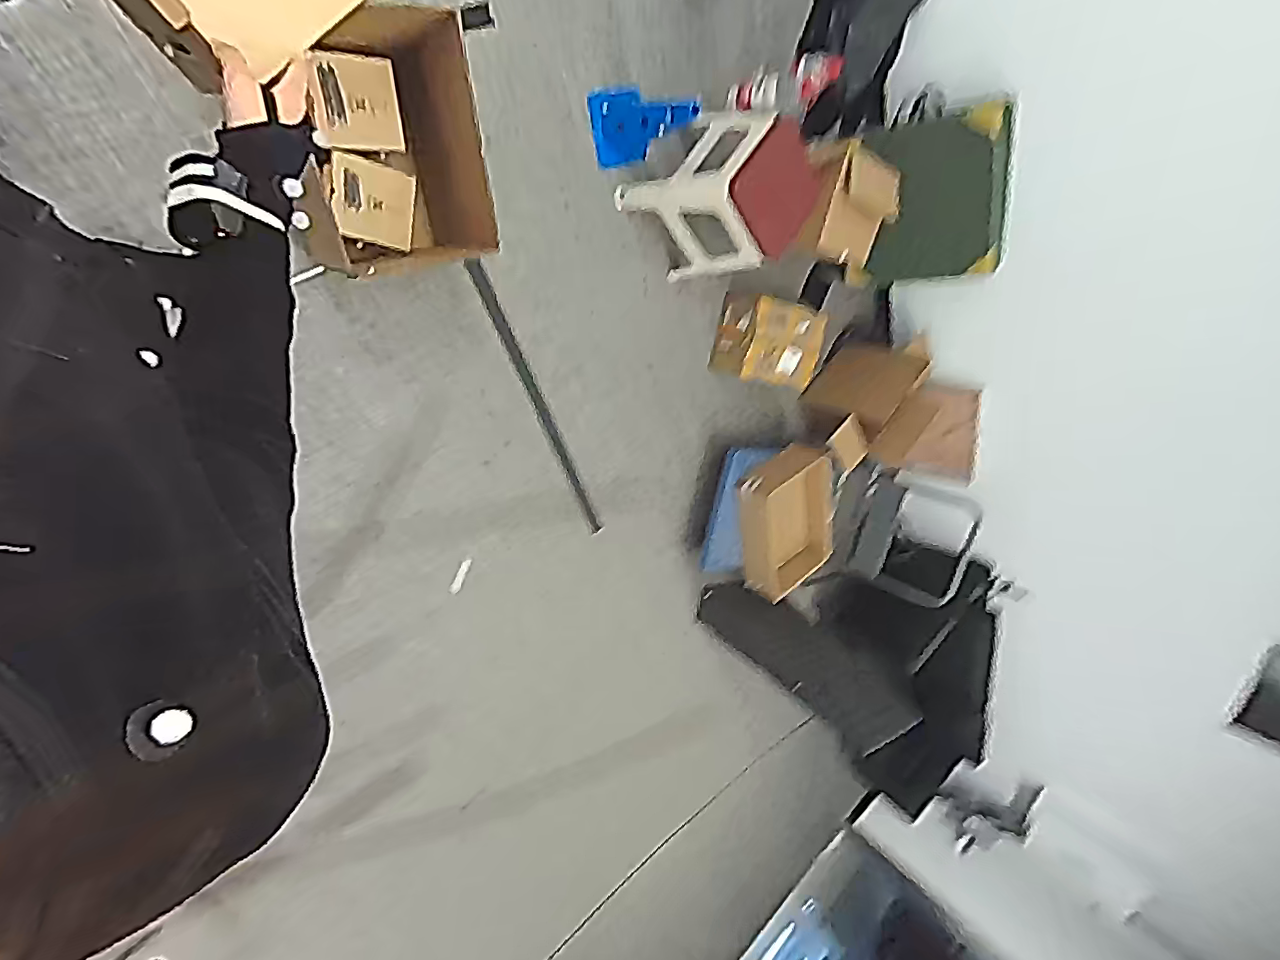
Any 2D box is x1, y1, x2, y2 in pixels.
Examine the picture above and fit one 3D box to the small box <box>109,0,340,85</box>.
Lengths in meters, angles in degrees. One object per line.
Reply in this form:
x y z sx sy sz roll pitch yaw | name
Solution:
-0.409 -0.496 0.494 0.179 0.176 0.168 -54 146 -12 | small box
